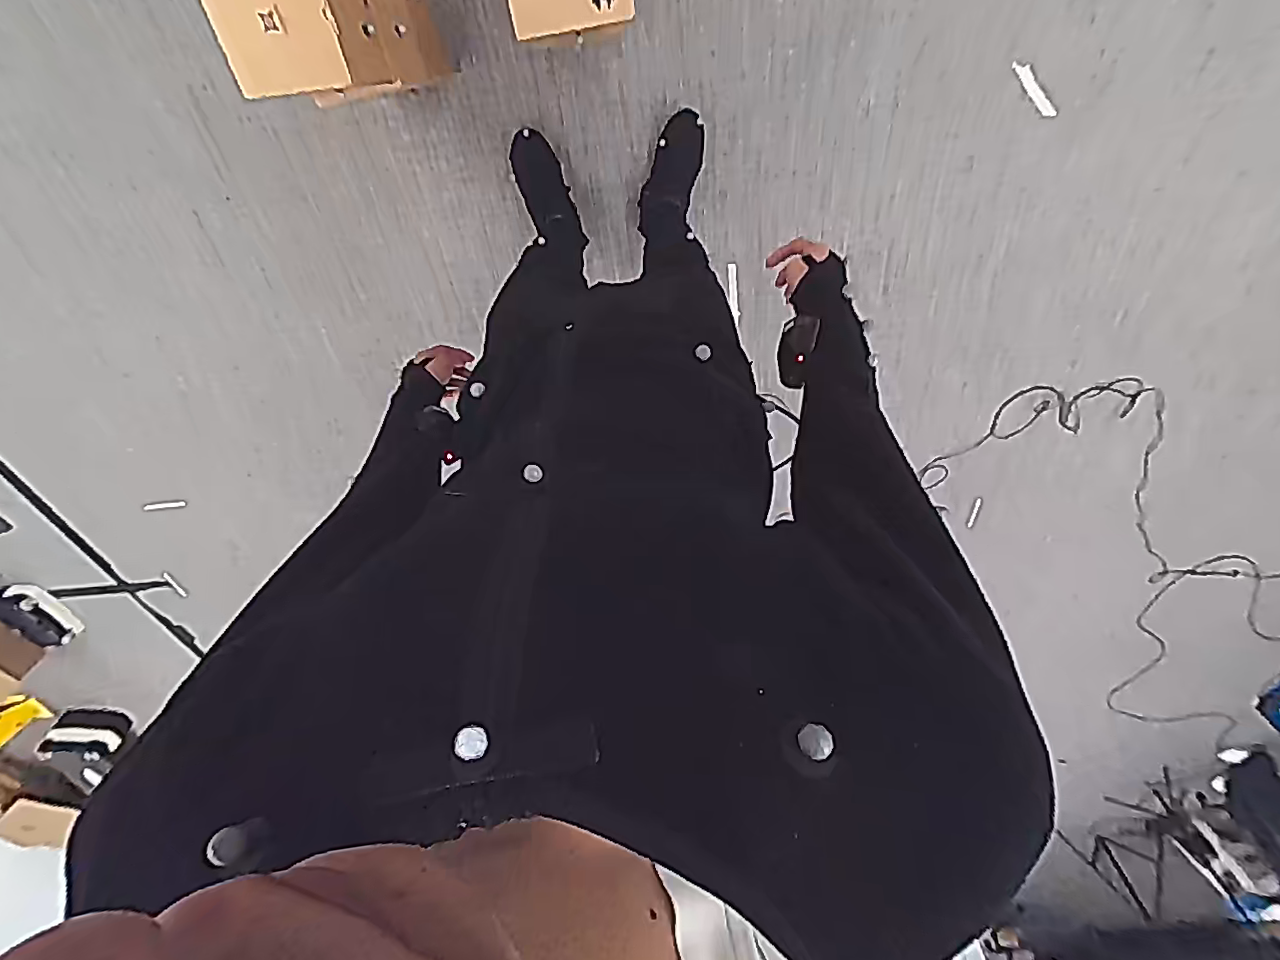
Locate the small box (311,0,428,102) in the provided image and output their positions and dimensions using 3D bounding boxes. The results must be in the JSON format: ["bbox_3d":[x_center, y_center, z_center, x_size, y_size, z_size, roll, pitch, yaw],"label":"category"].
[{"bbox_3d":[-0.505,-0.792,0.956,0.168,0.176,0.179,-8,128,6],"label":"small box"}]

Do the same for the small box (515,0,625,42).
[{"bbox_3d":[-0.121,-0.855,0.915,0.179,0.176,0.168,-5,128,1],"label":"small box"}]

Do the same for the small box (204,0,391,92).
[{"bbox_3d":[-0.516,-0.700,0.822,0.179,0.176,0.168,-5,128,3],"label":"small box"}]

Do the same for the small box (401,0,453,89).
[{"bbox_3d":[-0.500,-0.899,1.081,0.168,0.176,0.179,-10,128,7],"label":"small box"}]

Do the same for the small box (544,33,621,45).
[{"bbox_3d":[-0.125,-0.955,1.044,0.179,0.176,0.168,-5,129,2],"label":"small box"}]
